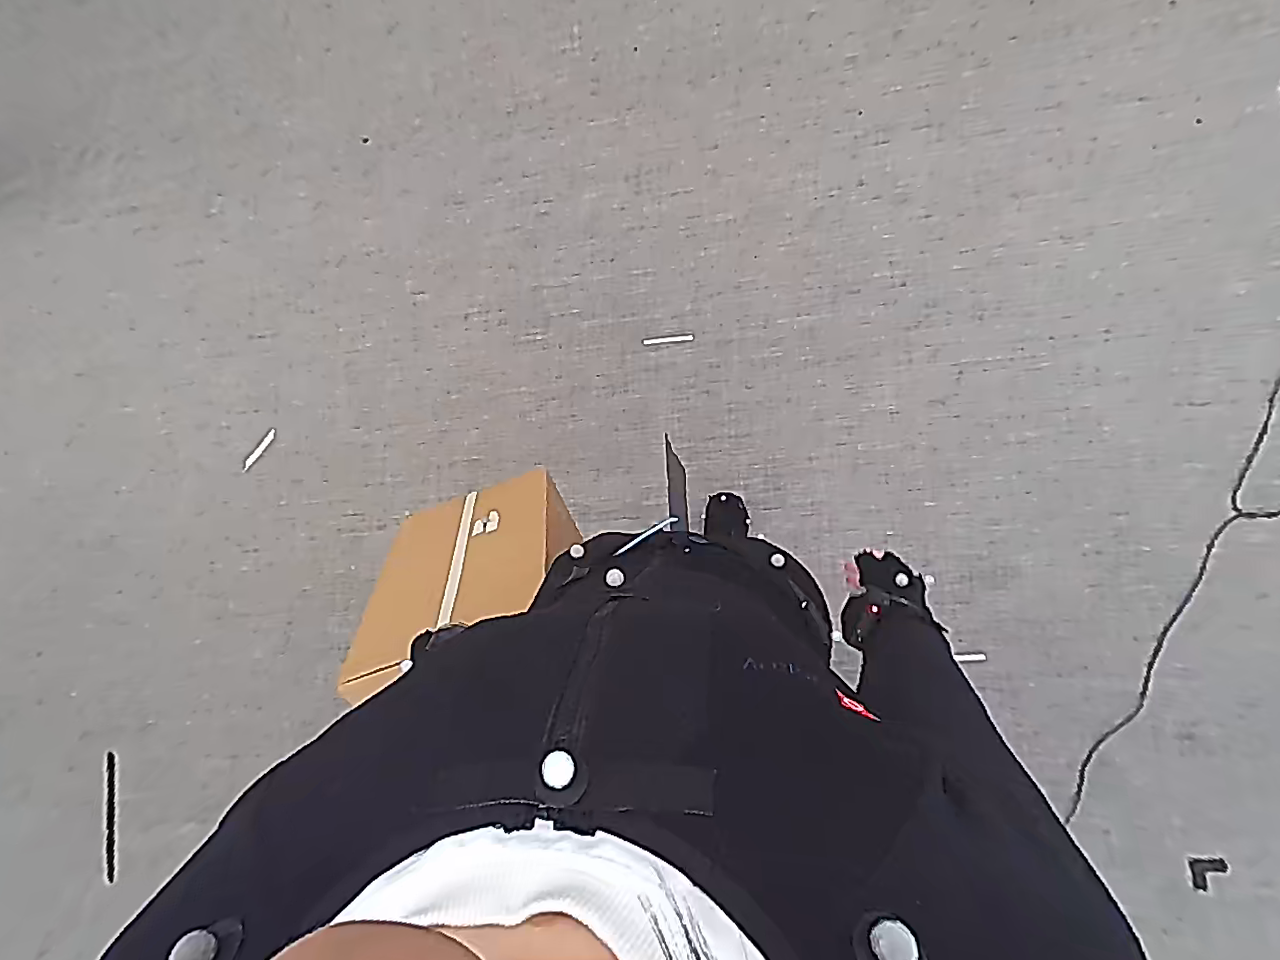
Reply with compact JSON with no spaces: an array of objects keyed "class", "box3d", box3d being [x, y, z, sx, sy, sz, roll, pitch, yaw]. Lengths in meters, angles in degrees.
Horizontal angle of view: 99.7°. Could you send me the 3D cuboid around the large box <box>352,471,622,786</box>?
[{"class":"large box","box3d":[-0.246,0.250,0.991,0.320,0.408,0.320,-19,121,2]}]
